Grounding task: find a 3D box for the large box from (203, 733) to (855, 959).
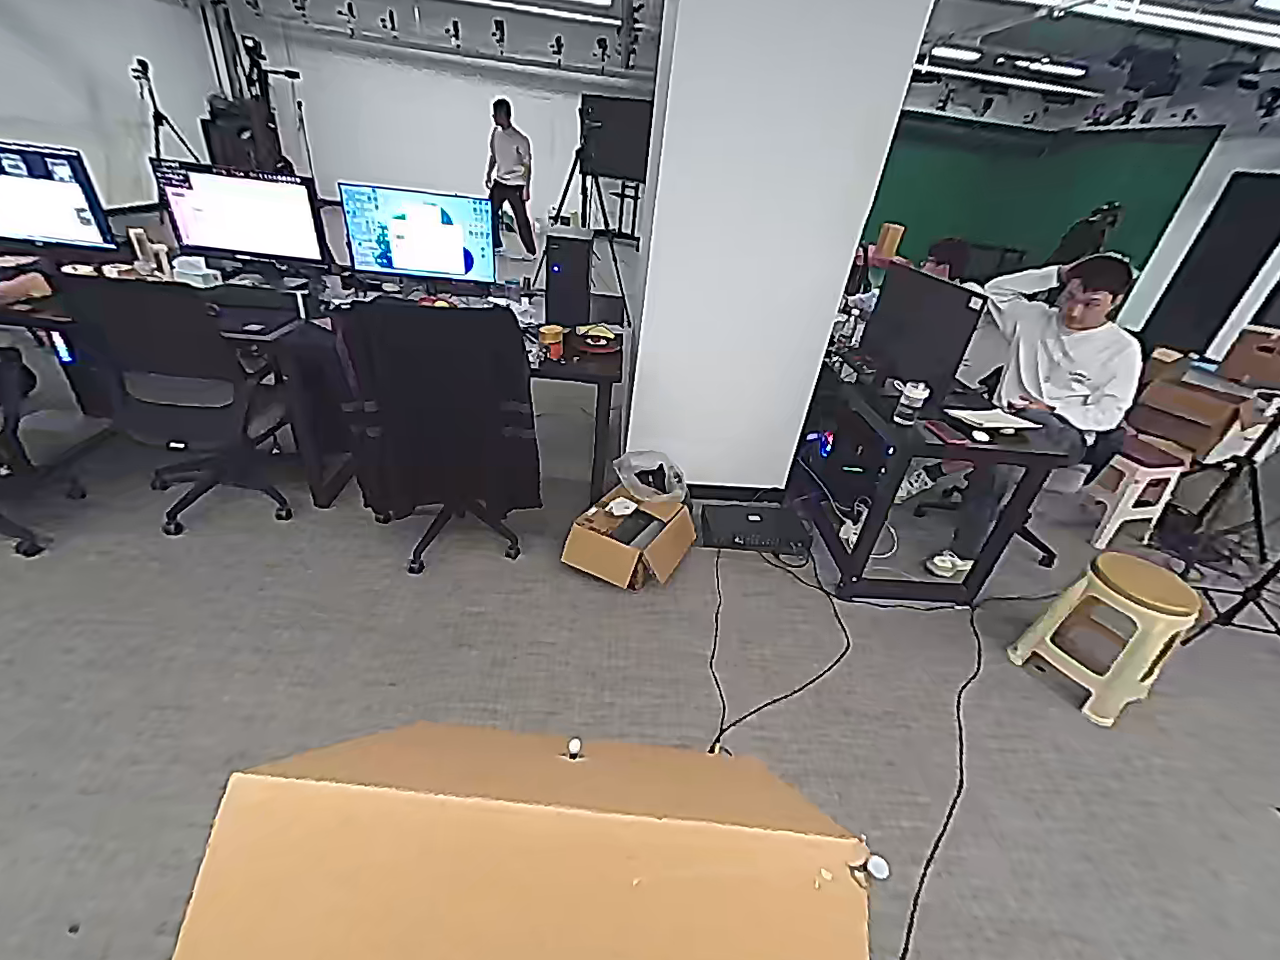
[{"bbox_3d":[-0.076,0.406,0.447,0.408,0.320,0.320,5,73,1],"label":"large box"}]
